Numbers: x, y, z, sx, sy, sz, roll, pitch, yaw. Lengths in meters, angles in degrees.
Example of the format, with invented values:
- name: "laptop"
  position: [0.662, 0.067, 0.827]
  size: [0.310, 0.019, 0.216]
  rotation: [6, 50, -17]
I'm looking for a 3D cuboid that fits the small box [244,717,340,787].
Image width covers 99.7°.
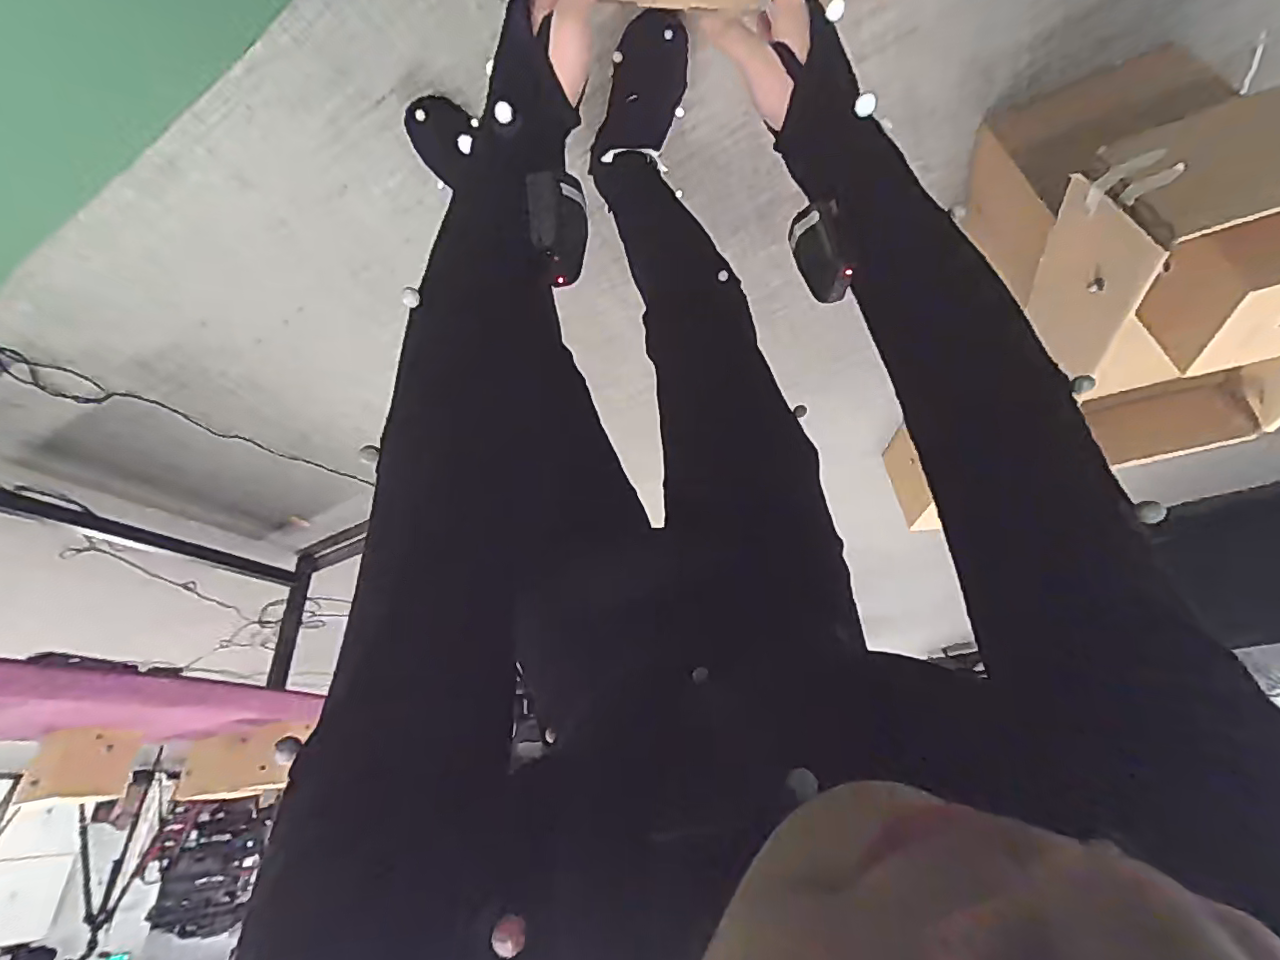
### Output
- name: "small box"
  position: [-1.030, 0.812, 1.617]
  size: [0.179, 0.176, 0.168]
  rotation: [-19, 147, 22]

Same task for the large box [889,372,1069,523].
- name: "large box"
  position: [1.071, -0.093, 1.774]
  size: [0.320, 0.320, 0.408]
  rotation: [-7, 149, 1]

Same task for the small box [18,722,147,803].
- name: "small box"
  position: [-1.478, 0.757, 1.447]
  size: [0.179, 0.176, 0.168]
  rotation: [-21, 146, 21]
